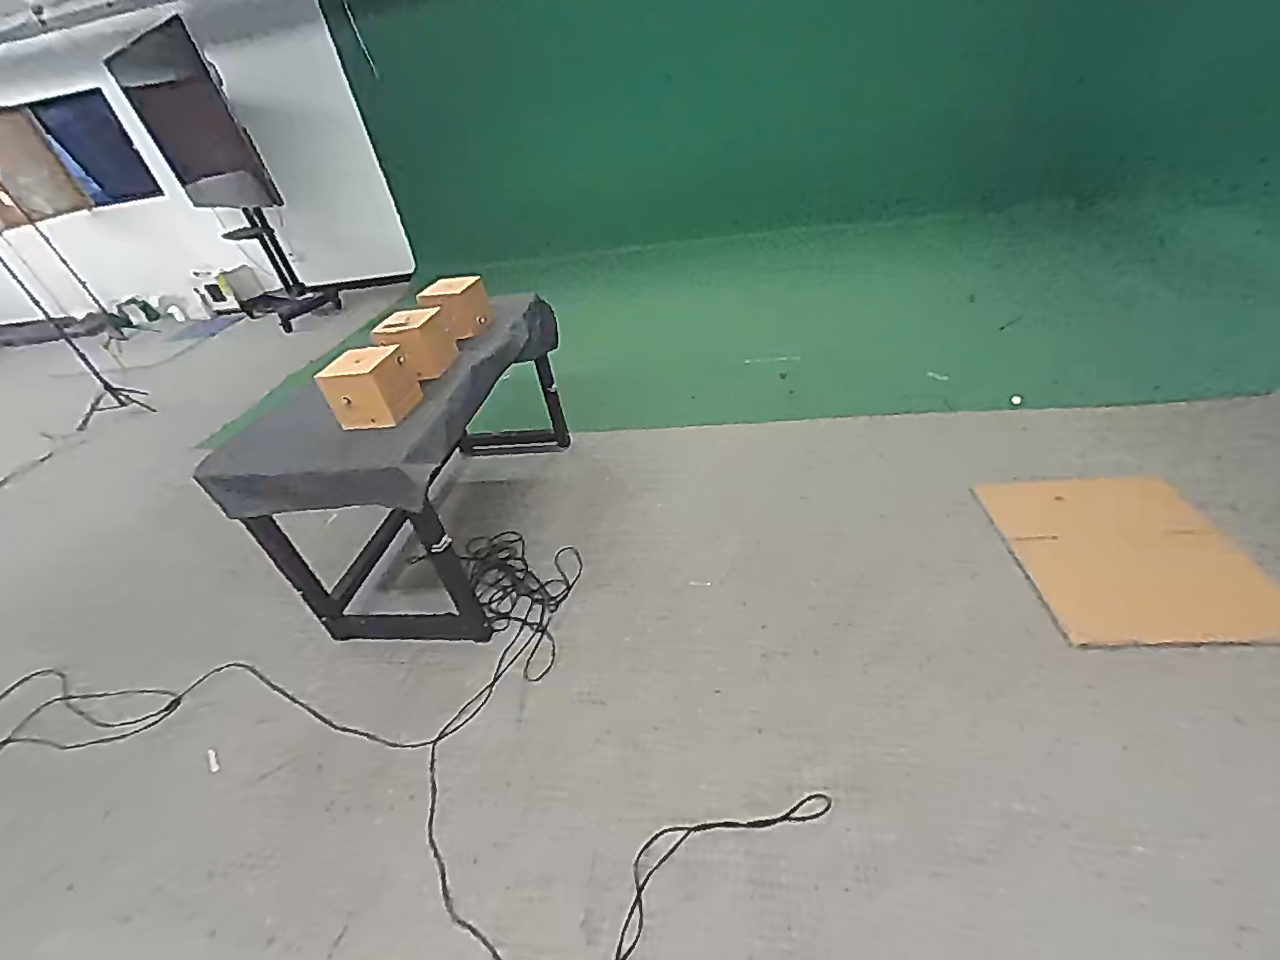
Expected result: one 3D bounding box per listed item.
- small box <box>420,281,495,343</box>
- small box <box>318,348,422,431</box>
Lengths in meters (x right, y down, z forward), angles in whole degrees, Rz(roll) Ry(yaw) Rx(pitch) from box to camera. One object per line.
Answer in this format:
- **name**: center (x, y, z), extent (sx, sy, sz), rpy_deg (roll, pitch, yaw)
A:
- **small box**: center (-0.657, -0.606, 1.966), extent (0.179, 0.176, 0.168), rpy_deg (2, 40, 15)
- **small box**: center (-0.736, -0.246, 1.502), extent (0.168, 0.176, 0.179), rpy_deg (-3, 36, 11)
